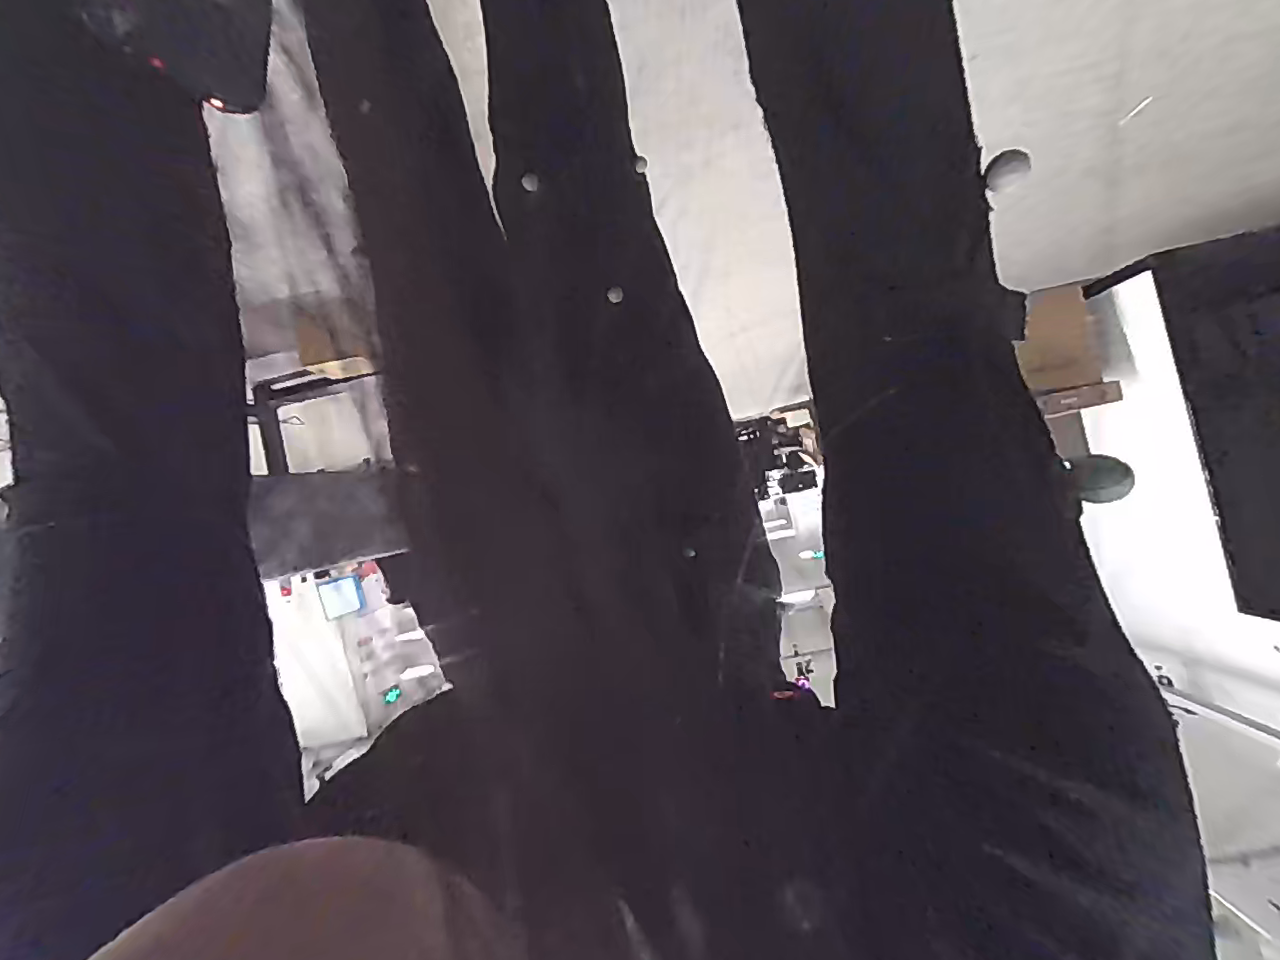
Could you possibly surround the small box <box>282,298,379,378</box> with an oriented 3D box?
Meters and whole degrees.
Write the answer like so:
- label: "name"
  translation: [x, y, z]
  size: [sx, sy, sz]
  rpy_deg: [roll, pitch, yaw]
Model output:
- label: "small box"
  translation: [-0.900, -0.413, 1.576]
  size: [0.179, 0.176, 0.168]
  rpy_deg: [-13, 179, -1]
